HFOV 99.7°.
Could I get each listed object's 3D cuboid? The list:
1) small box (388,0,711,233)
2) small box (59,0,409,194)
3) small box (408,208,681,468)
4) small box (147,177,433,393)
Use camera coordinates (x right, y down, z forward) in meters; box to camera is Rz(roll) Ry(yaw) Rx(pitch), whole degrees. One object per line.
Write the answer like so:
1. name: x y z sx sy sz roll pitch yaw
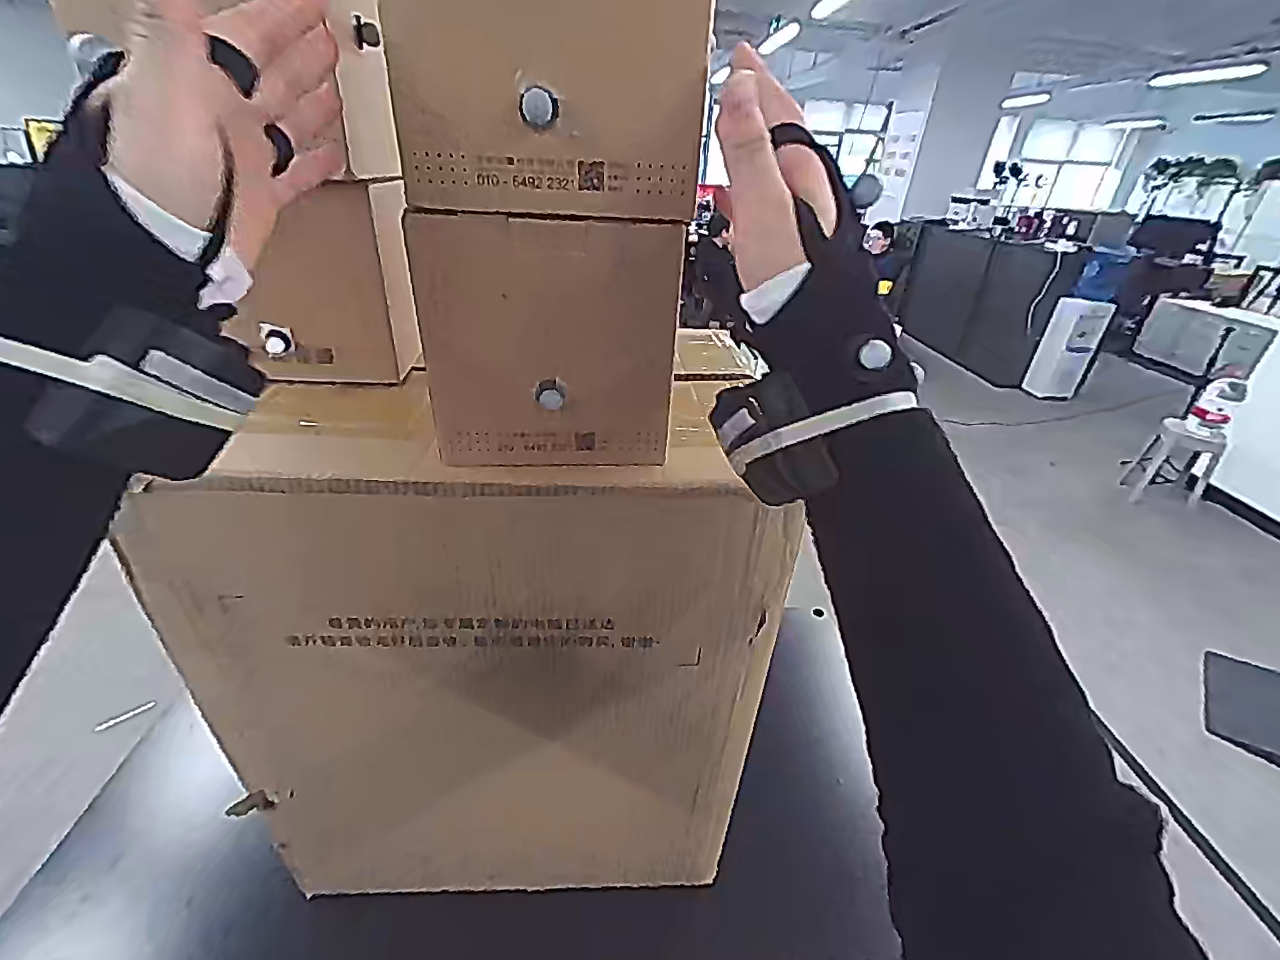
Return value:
1. small box: -0.053 -0.262 0.345 0.168 0.176 0.179 -1 31 -5
2. small box: -0.297 -0.328 0.429 0.168 0.176 0.179 0 31 -7
3. small box: -0.066 -0.123 0.432 0.168 0.176 0.179 -1 31 -5
4. small box: -0.305 -0.194 0.525 0.168 0.176 0.179 -1 31 -8
